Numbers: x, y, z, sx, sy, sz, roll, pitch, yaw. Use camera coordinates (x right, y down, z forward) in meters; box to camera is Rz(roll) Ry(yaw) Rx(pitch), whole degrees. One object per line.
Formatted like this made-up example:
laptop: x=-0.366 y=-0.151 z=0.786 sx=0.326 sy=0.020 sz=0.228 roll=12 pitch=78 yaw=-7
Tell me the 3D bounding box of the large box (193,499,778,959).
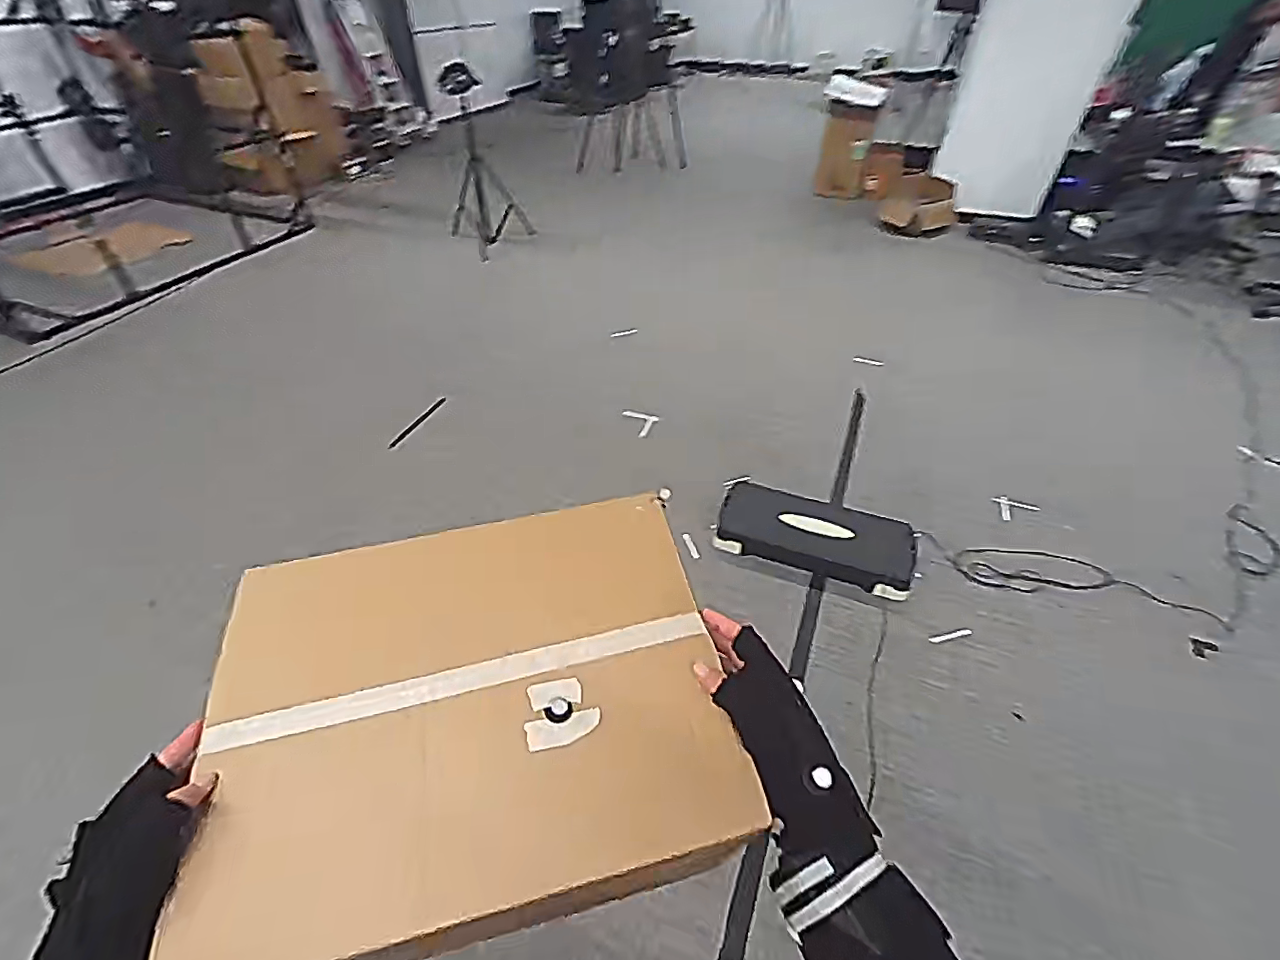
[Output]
large box: x=-0.126 y=0.263 z=0.572 sx=0.408 sy=0.320 sz=0.320 roll=-9 pitch=51 yaw=-9
